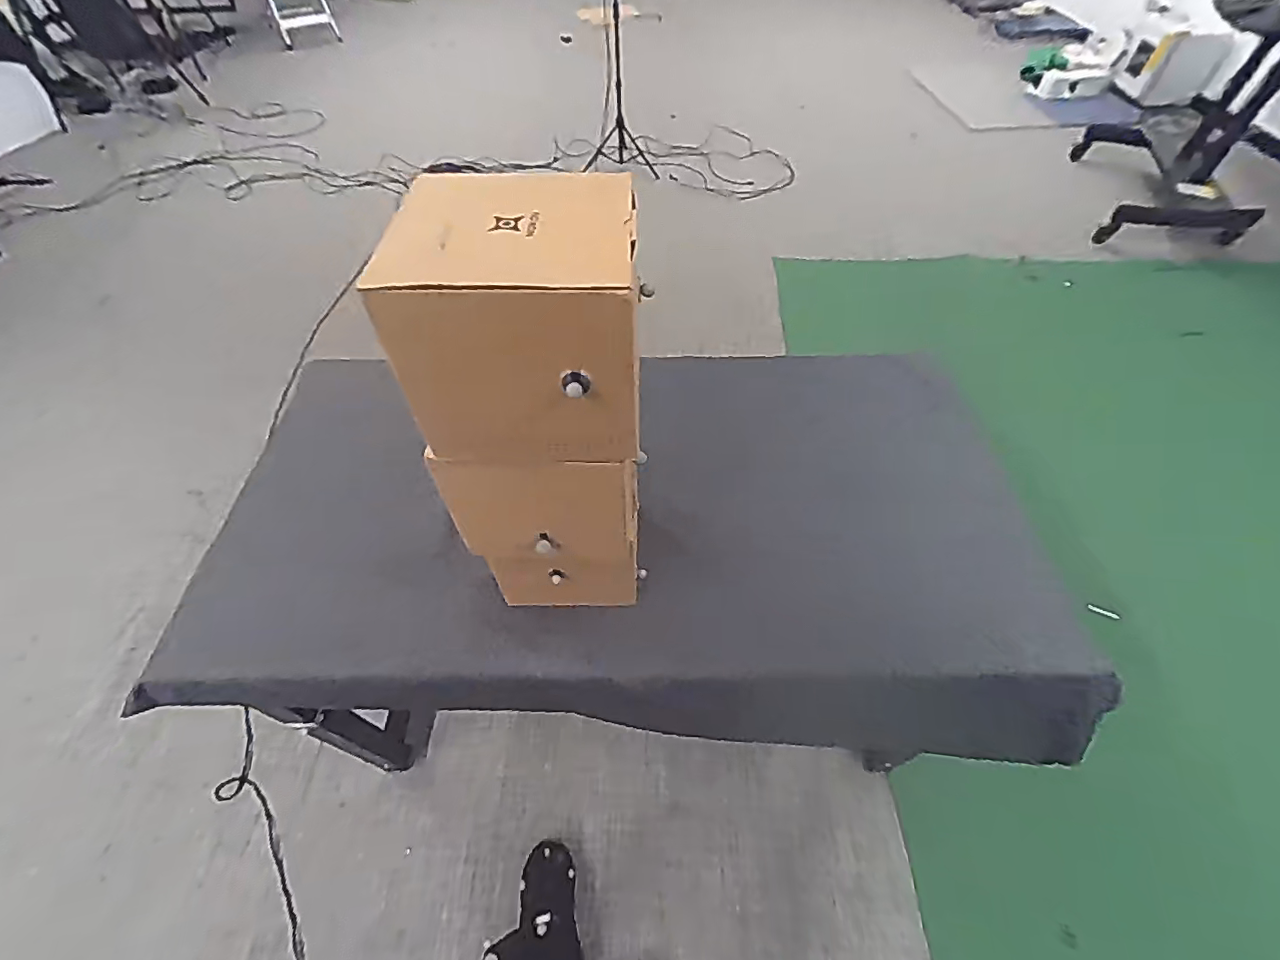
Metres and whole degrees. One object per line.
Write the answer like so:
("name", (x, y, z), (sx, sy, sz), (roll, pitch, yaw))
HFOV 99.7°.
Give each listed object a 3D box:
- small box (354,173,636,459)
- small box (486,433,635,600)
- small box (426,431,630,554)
("small box", (-0.092, -0.130, 0.450), (0.179, 0.176, 0.168), (-1, 51, 1))
("small box", (-0.095, 0.050, 0.722), (0.179, 0.176, 0.168), (-1, 52, 1))
("small box", (-0.100, -0.030, 0.581), (0.179, 0.176, 0.168), (-1, 54, 1))
